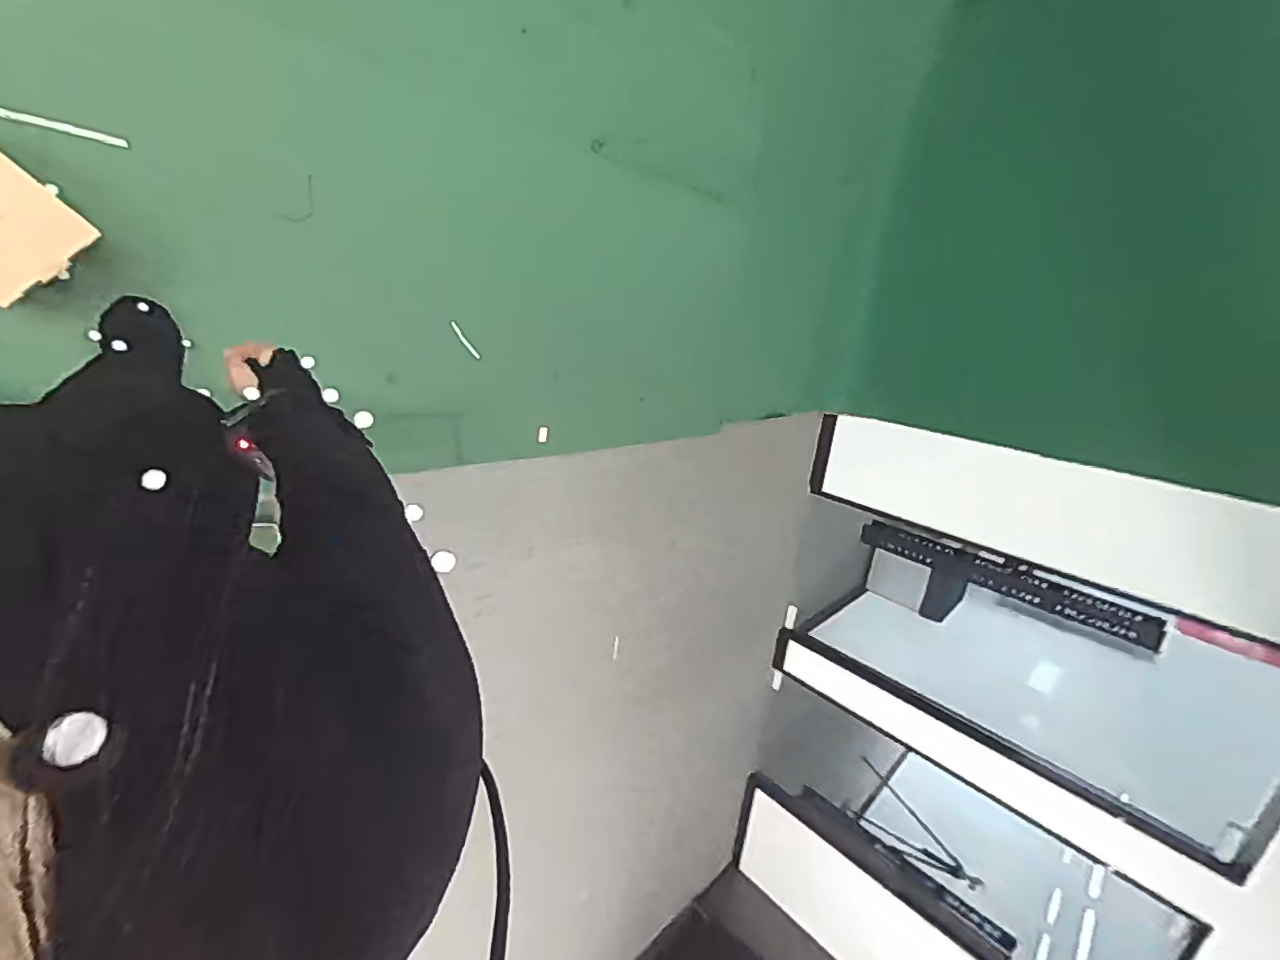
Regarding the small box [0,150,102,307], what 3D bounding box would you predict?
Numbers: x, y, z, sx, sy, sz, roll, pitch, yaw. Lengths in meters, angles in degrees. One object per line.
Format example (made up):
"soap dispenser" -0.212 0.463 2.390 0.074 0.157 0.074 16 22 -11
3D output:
"small box" -0.931 -0.375 0.768 0.168 0.176 0.179 -53 137 -16
